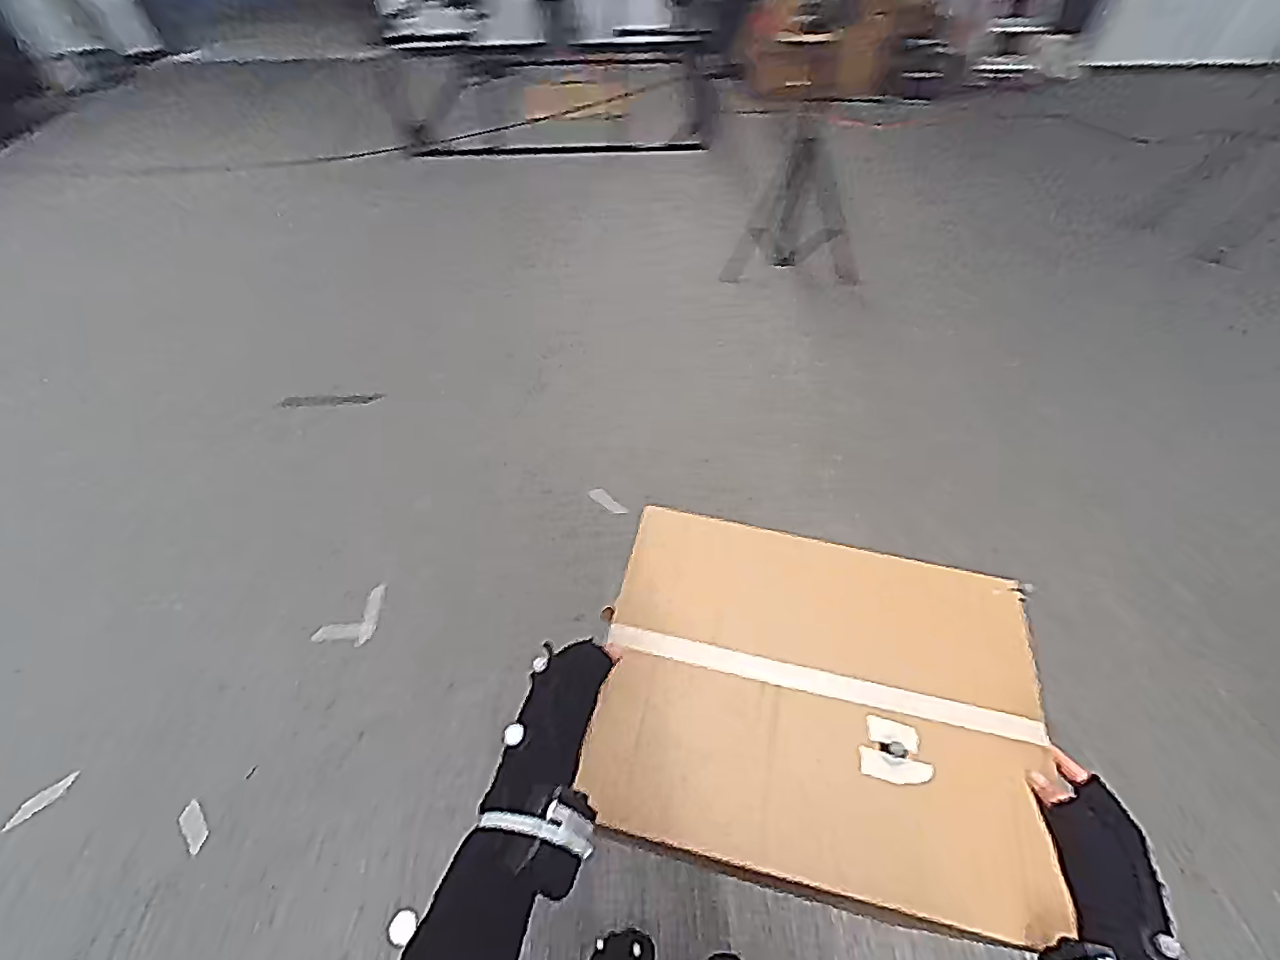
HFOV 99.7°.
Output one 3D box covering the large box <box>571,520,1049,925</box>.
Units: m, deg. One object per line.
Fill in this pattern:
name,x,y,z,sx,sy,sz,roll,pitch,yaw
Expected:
large box,0.156,0.285,0.651,0.408,0.320,0.320,10,56,6
